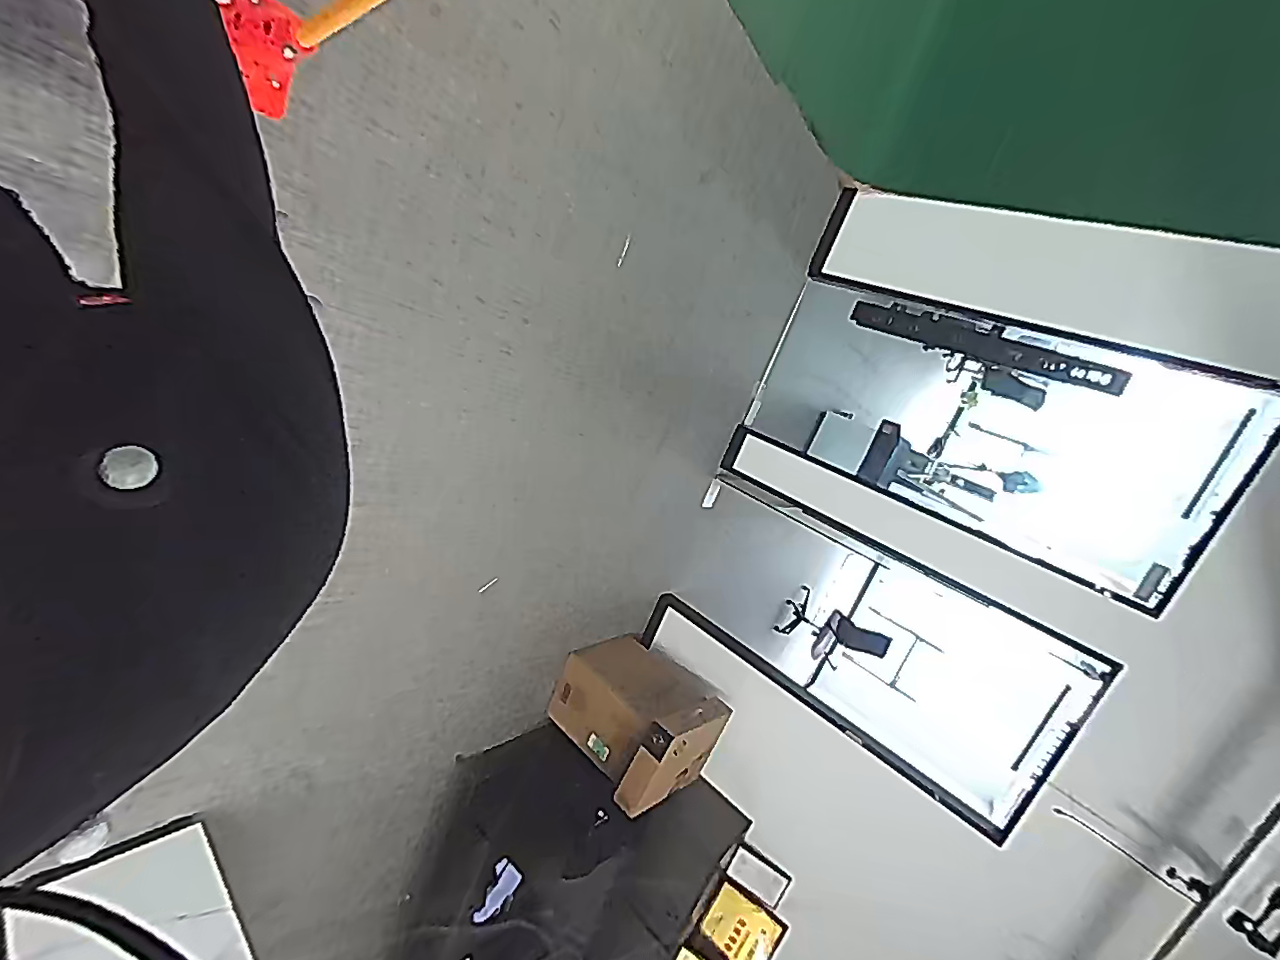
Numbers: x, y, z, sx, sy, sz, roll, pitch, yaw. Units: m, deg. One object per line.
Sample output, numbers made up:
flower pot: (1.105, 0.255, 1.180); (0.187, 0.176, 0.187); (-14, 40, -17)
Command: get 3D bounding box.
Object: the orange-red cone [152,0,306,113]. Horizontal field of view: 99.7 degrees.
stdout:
orange-red cone: (-0.662, -0.773, 0.929); (0.199, 0.360, 0.198); (7, 109, -53)
